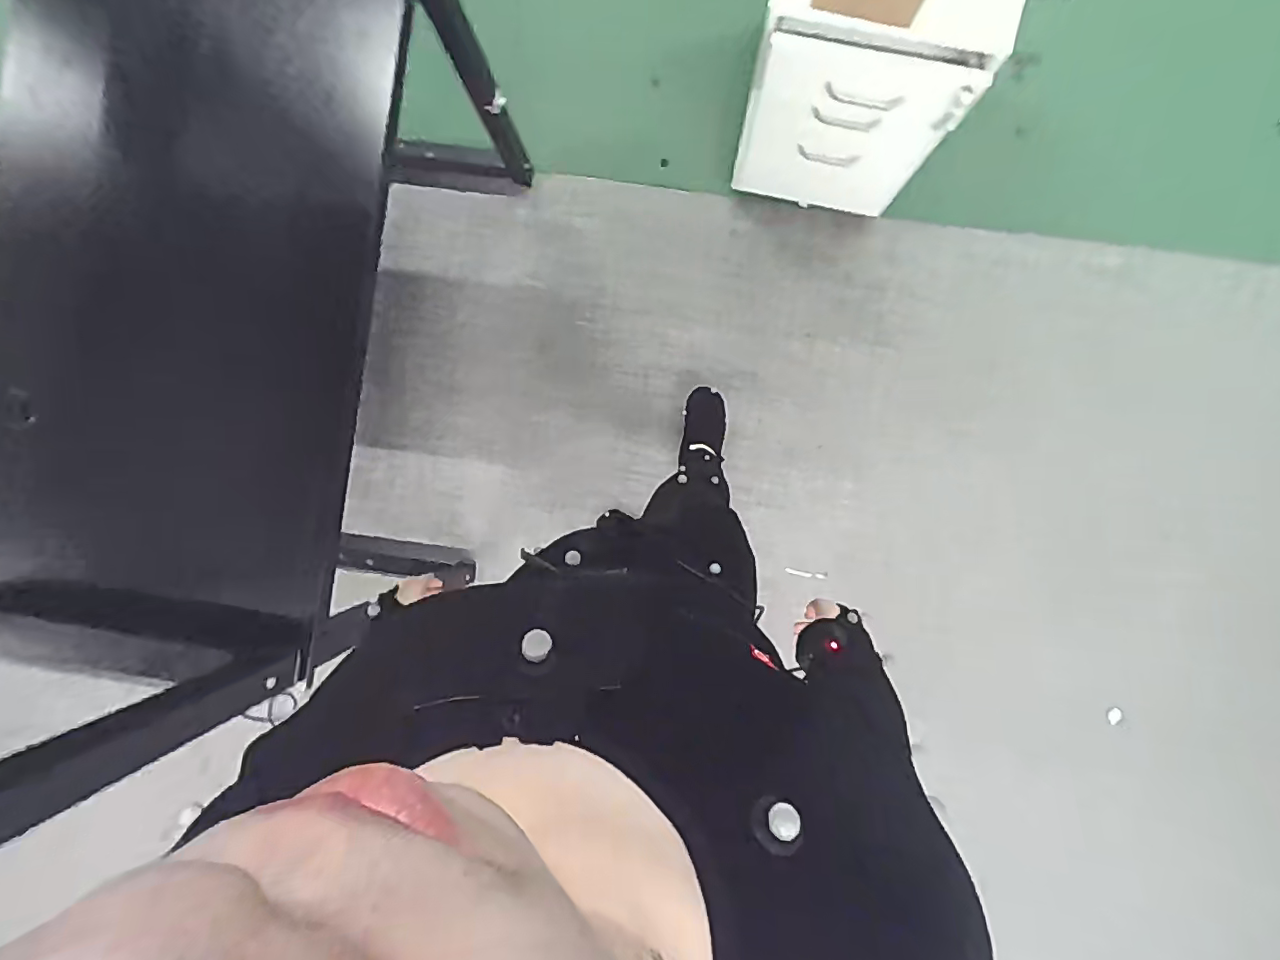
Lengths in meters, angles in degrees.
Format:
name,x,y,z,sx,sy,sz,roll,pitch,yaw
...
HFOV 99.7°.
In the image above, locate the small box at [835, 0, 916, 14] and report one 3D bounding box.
name,x,y,z,sx,sy,sz,roll,pitch,yaw
small box,0.366,-0.837,0.788,0.179,0.176,0.168,15,91,2
